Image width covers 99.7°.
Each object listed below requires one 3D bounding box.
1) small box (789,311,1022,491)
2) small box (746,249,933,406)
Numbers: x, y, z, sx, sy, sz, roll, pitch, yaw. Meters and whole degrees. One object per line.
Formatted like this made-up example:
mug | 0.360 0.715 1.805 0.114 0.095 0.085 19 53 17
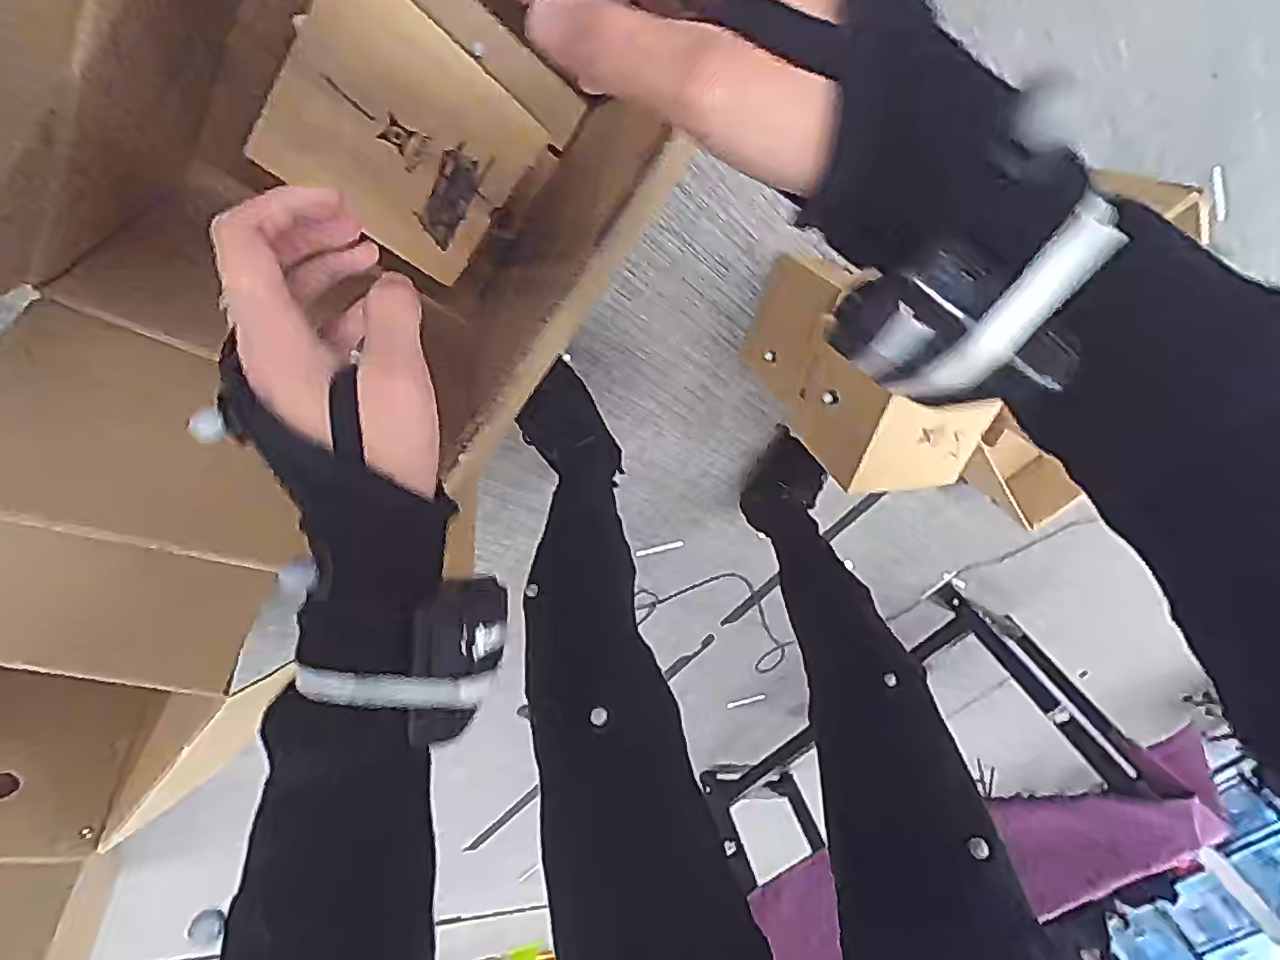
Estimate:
small box | 0.321 -0.106 0.696 0.179 0.176 0.168 -6 131 -18
small box | 0.281 -0.220 0.809 0.168 0.176 0.179 2 127 -23
